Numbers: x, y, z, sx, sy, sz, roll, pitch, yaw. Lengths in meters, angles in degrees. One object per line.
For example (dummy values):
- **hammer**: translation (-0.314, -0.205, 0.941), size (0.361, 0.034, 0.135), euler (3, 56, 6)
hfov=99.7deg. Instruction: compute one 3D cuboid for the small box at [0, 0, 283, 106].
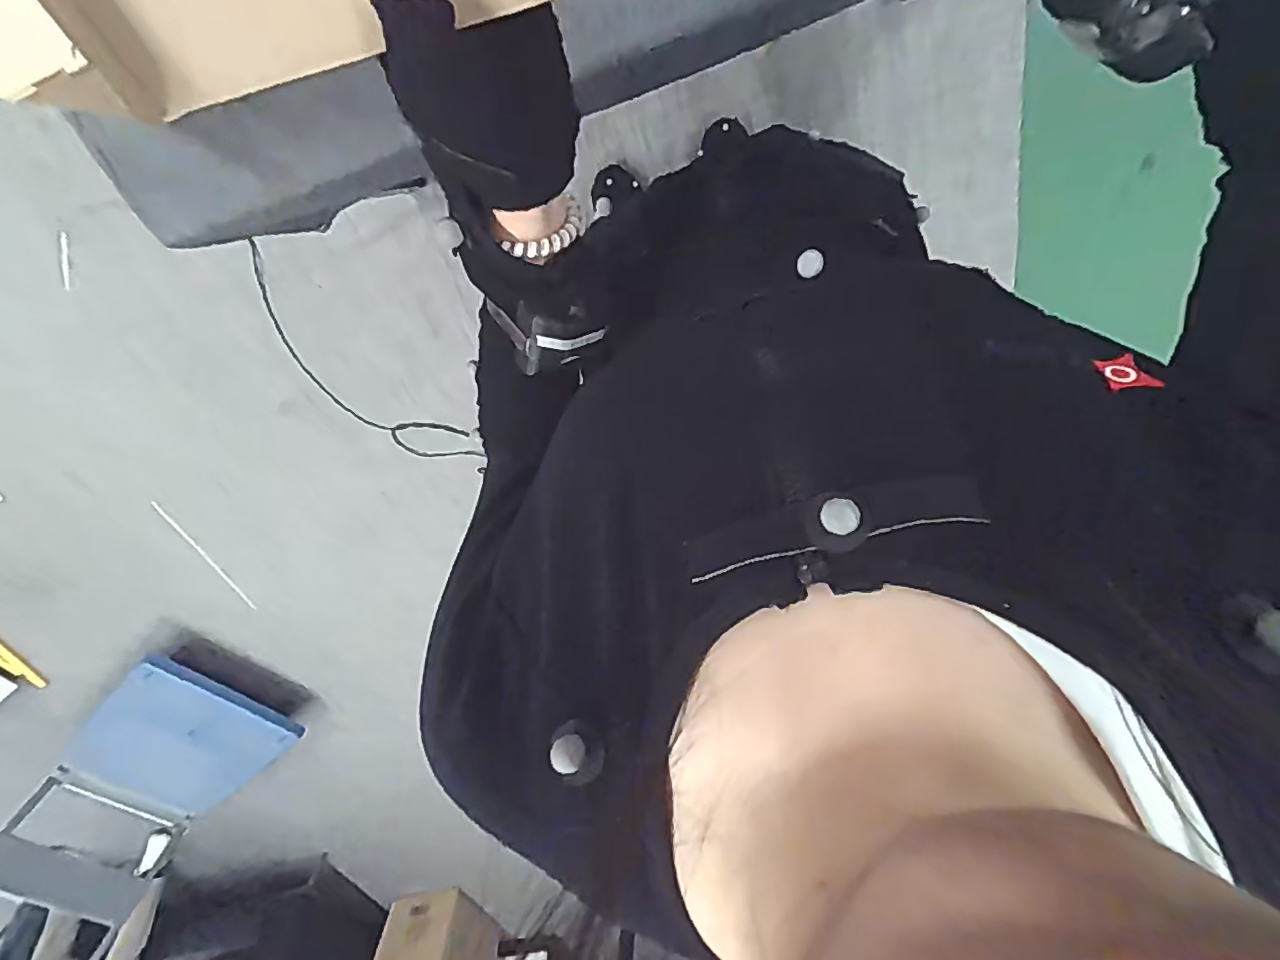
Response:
- **small box**: translation (-0.446, -0.433, 0.432), size (0.168, 0.176, 0.179), euler (-18, 119, 10)
